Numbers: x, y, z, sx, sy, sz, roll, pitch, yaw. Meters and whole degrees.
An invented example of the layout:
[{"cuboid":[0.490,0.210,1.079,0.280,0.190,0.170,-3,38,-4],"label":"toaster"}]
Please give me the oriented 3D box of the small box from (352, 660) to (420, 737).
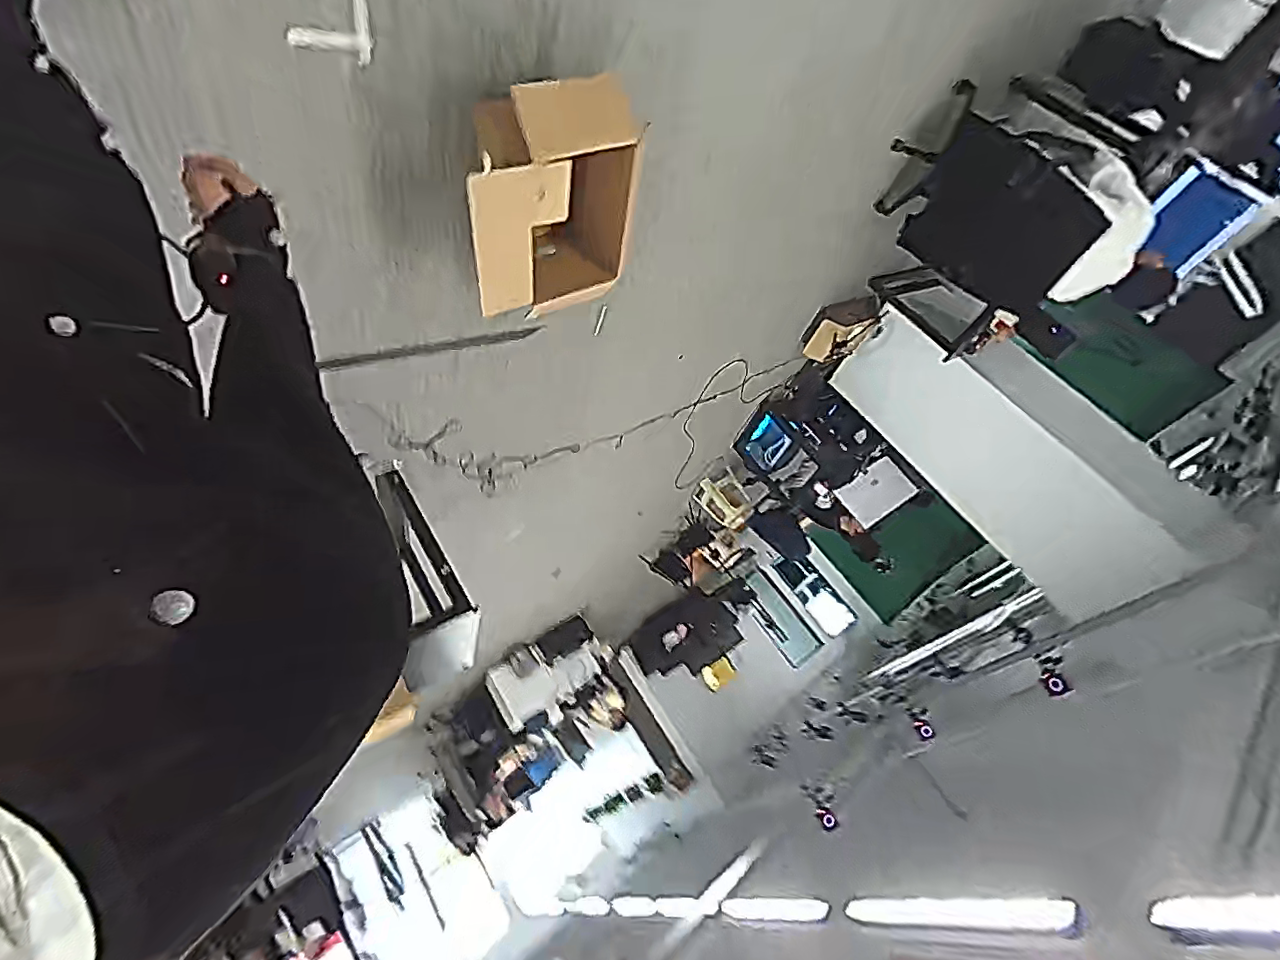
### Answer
[{"cuboid":[-0.896,0.762,1.899,0.168,0.176,0.179,-20,153,-39],"label":"small box"}]
